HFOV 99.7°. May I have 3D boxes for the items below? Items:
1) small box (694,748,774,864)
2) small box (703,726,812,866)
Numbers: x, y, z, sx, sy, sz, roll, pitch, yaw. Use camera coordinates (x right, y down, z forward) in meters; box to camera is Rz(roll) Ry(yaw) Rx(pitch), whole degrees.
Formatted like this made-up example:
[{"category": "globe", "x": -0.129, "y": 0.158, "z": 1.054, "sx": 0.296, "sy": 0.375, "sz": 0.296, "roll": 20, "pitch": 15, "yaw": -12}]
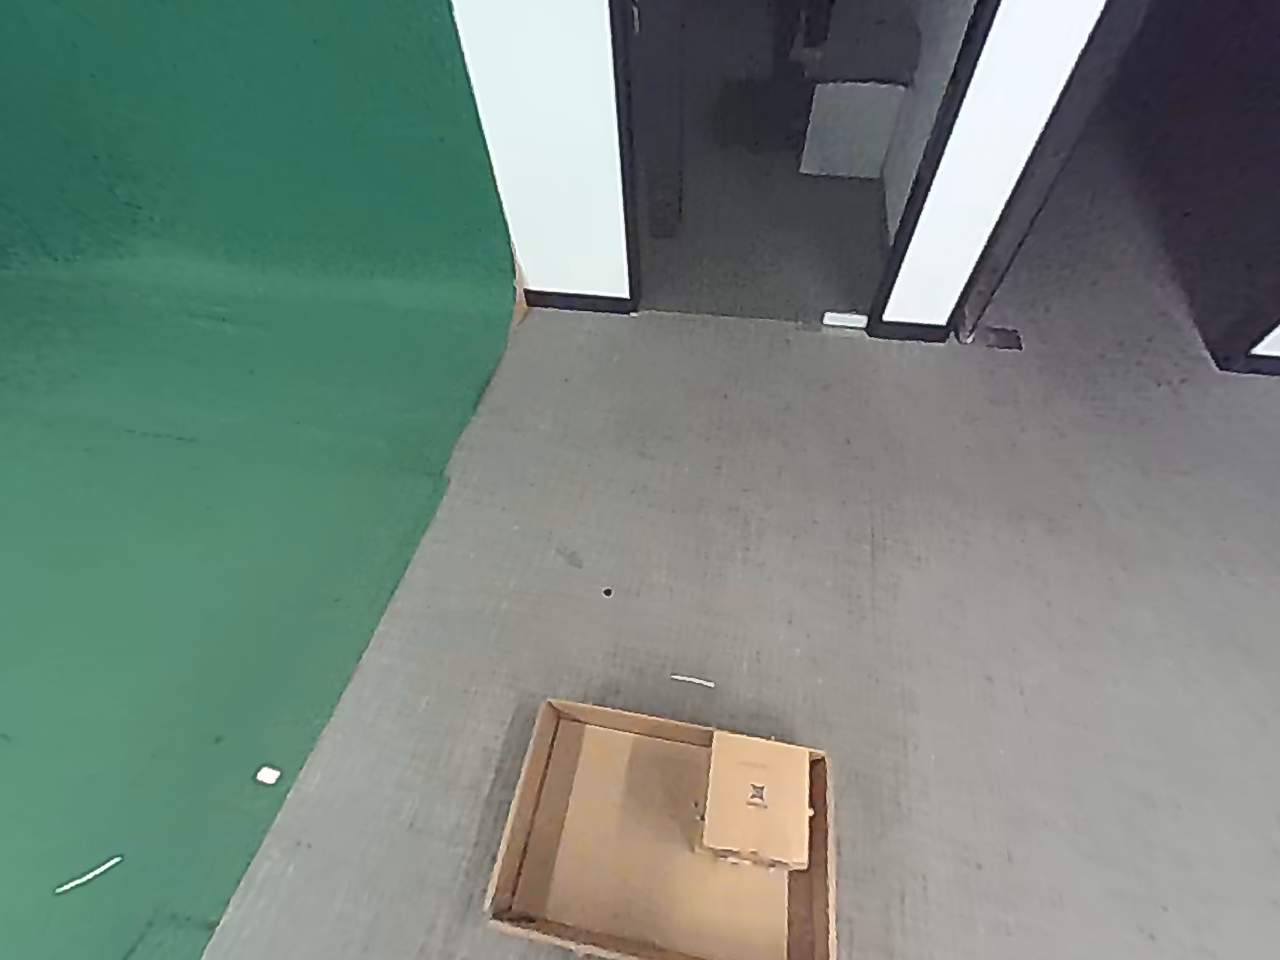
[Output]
[{"category": "small box", "x": 0.198, "y": 0.661, "z": 1.093, "sx": 0.168, "sy": 0.176, "sz": 0.179, "roll": 2, "pitch": 54, "yaw": 8}, {"category": "small box", "x": 0.202, "y": 0.554, "z": 0.945, "sx": 0.168, "sy": 0.176, "sz": 0.179, "roll": 7, "pitch": 55, "yaw": 9}]
